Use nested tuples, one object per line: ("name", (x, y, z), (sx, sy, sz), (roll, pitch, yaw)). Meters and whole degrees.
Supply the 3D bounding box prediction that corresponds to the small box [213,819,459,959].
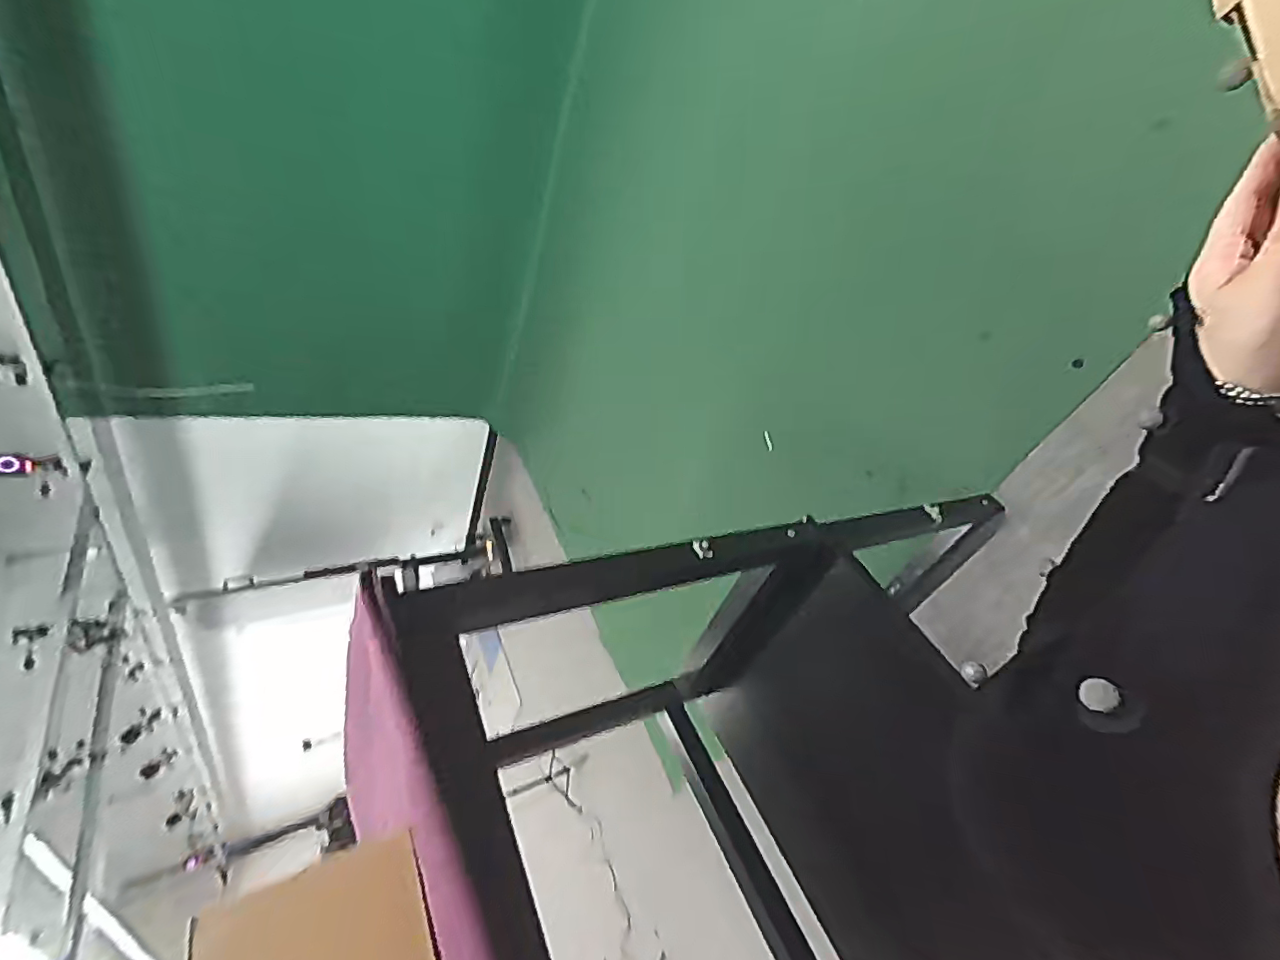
("small box", (-0.260, 0.452, 0.486), (0.179, 0.176, 0.168), (57, 141, 35))
